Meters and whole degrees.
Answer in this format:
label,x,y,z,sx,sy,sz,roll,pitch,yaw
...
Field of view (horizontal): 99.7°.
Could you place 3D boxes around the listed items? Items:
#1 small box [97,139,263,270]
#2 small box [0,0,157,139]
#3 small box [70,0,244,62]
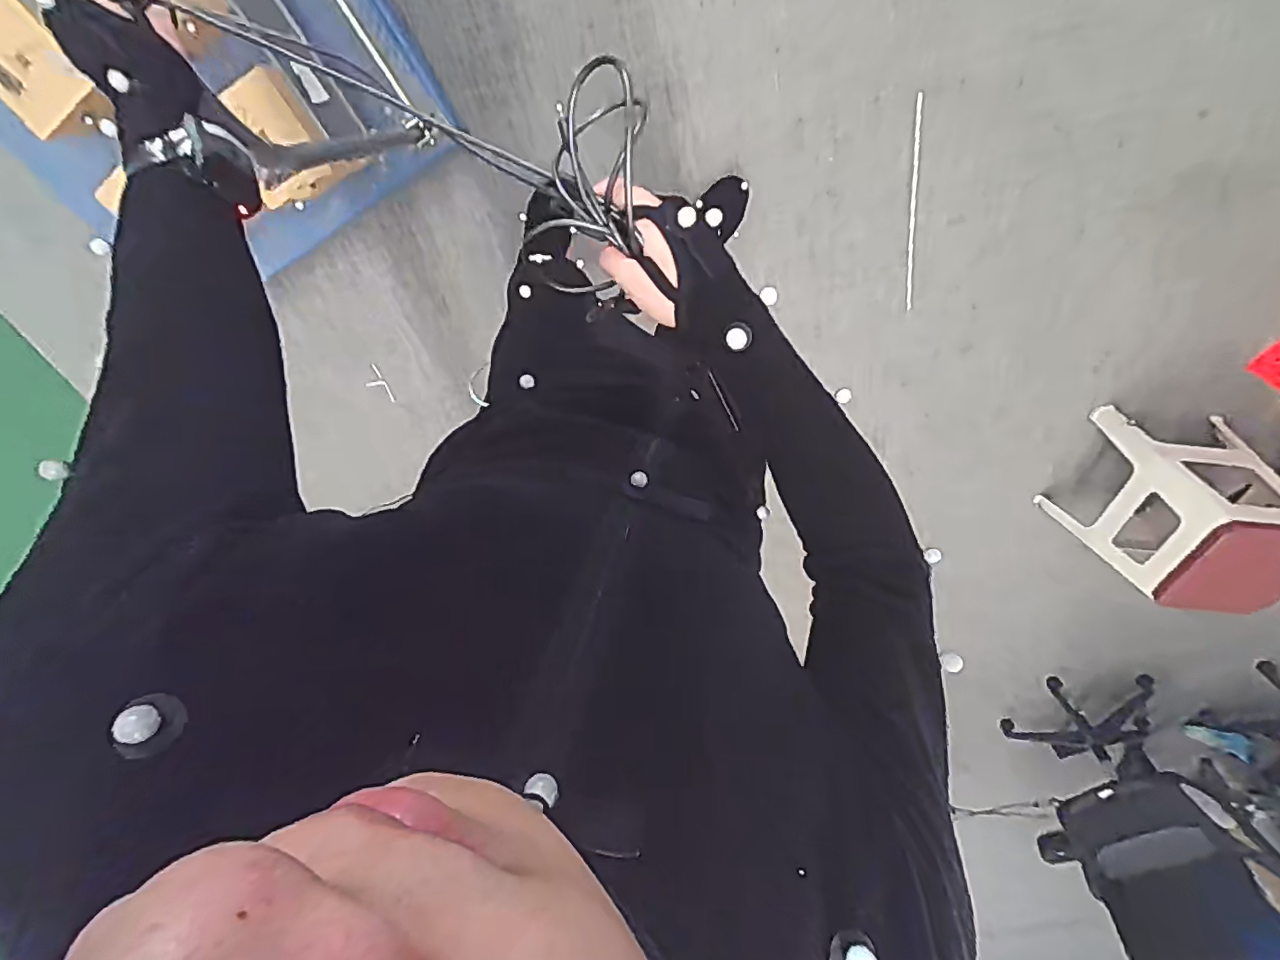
label,x,y,z,sx,sy,sz,roll,pitch,yaw
small box,-0.929,-0.572,1.114,0.179,0.176,0.168,-25,122,19
small box,-1.048,-0.755,0.980,0.179,0.176,0.168,-23,124,18
small box,-0.828,-0.837,0.908,0.179,0.176,0.168,-20,124,17
